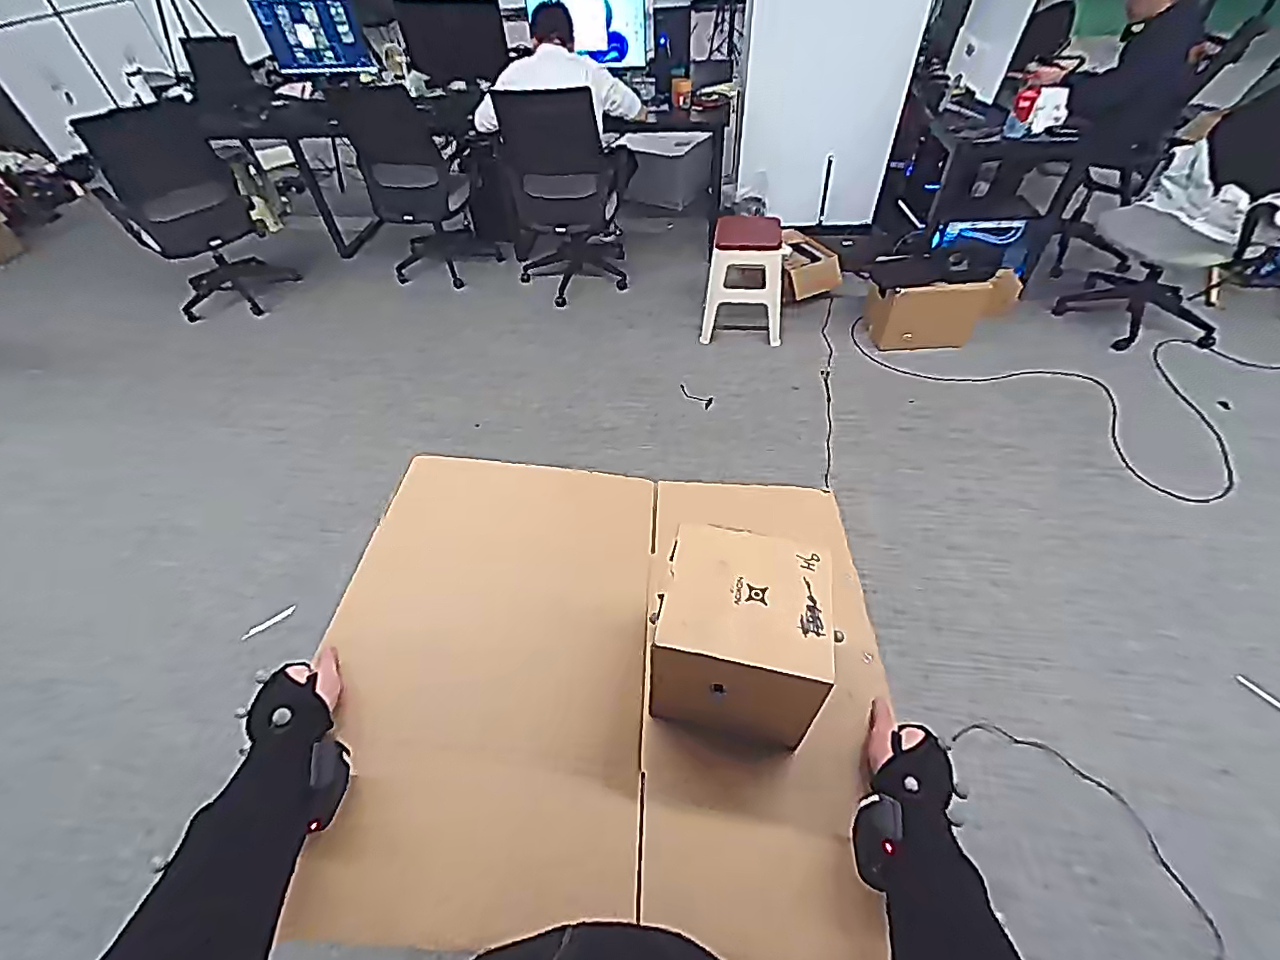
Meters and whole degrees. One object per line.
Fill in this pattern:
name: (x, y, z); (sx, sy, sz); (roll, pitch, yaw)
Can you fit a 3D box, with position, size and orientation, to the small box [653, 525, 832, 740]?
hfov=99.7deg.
small box: (0.116, 0.179, 0.631); (0.179, 0.176, 0.168); (9, 46, 10)
